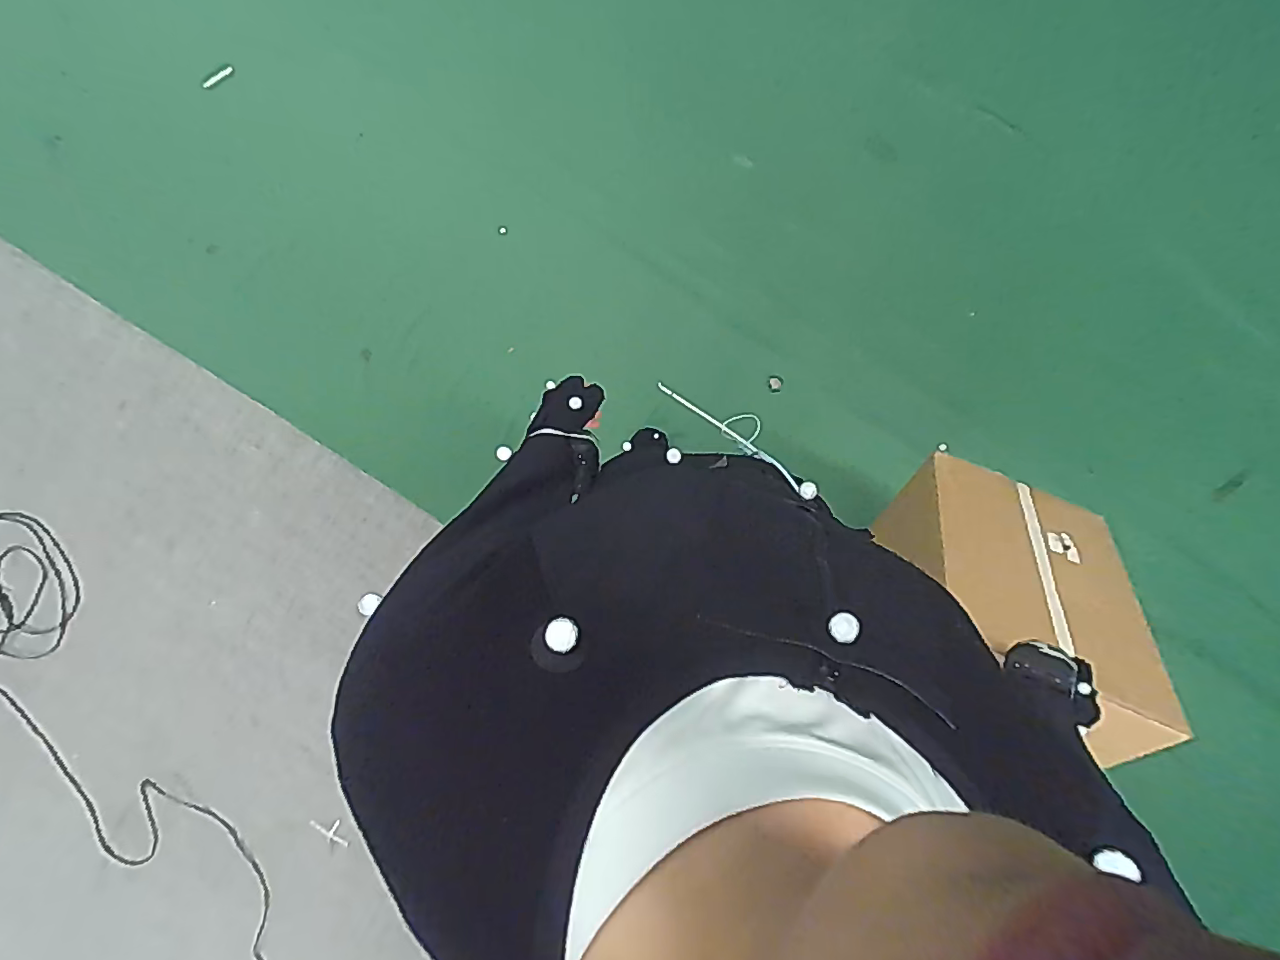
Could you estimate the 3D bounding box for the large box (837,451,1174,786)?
[{"bbox_3d":[0.563,0.229,0.935,0.320,0.408,0.320,24,134,4],"label":"large box"}]
